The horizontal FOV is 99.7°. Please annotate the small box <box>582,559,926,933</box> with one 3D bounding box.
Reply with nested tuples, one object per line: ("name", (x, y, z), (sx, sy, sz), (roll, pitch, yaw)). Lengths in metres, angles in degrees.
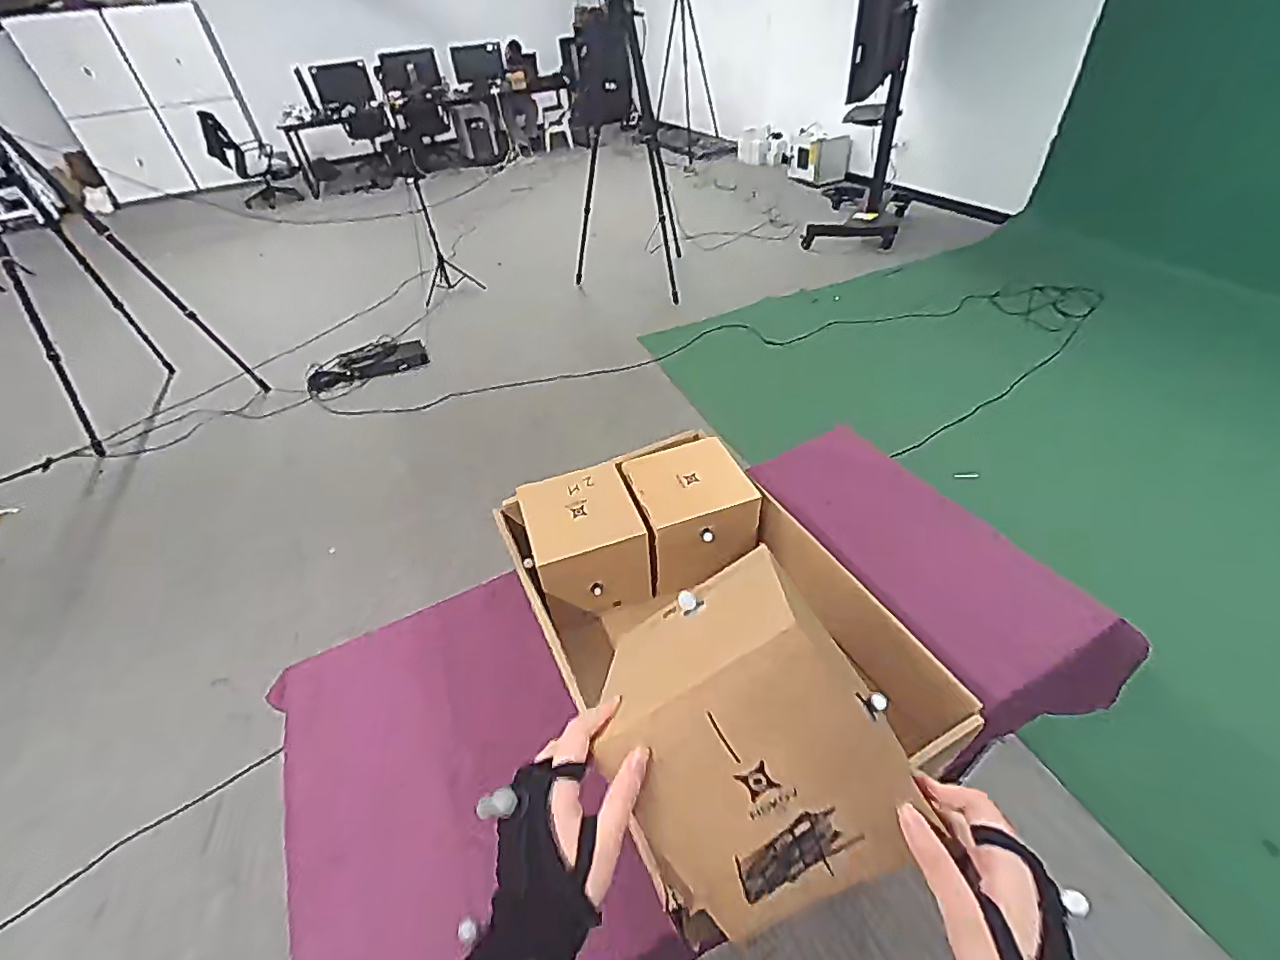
("small box", (0.084, 0.192, 0.438), (0.168, 0.179, 0.176), (-36, 2, 11))
